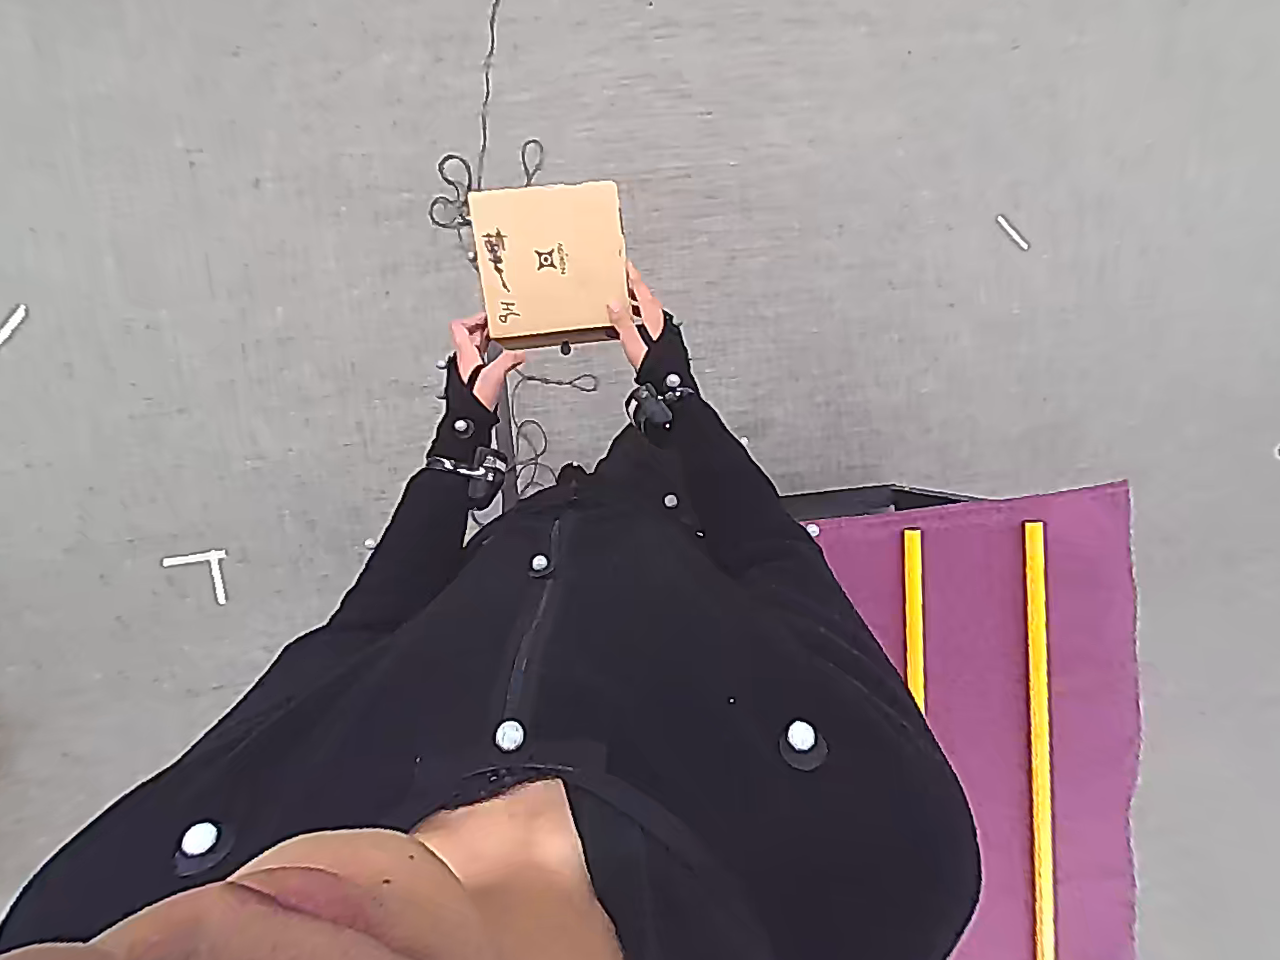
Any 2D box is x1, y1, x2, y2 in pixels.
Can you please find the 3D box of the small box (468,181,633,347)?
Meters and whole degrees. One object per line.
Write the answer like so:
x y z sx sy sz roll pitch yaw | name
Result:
-0.113 -0.271 0.711 0.179 0.176 0.168 -8 100 -6 | small box
